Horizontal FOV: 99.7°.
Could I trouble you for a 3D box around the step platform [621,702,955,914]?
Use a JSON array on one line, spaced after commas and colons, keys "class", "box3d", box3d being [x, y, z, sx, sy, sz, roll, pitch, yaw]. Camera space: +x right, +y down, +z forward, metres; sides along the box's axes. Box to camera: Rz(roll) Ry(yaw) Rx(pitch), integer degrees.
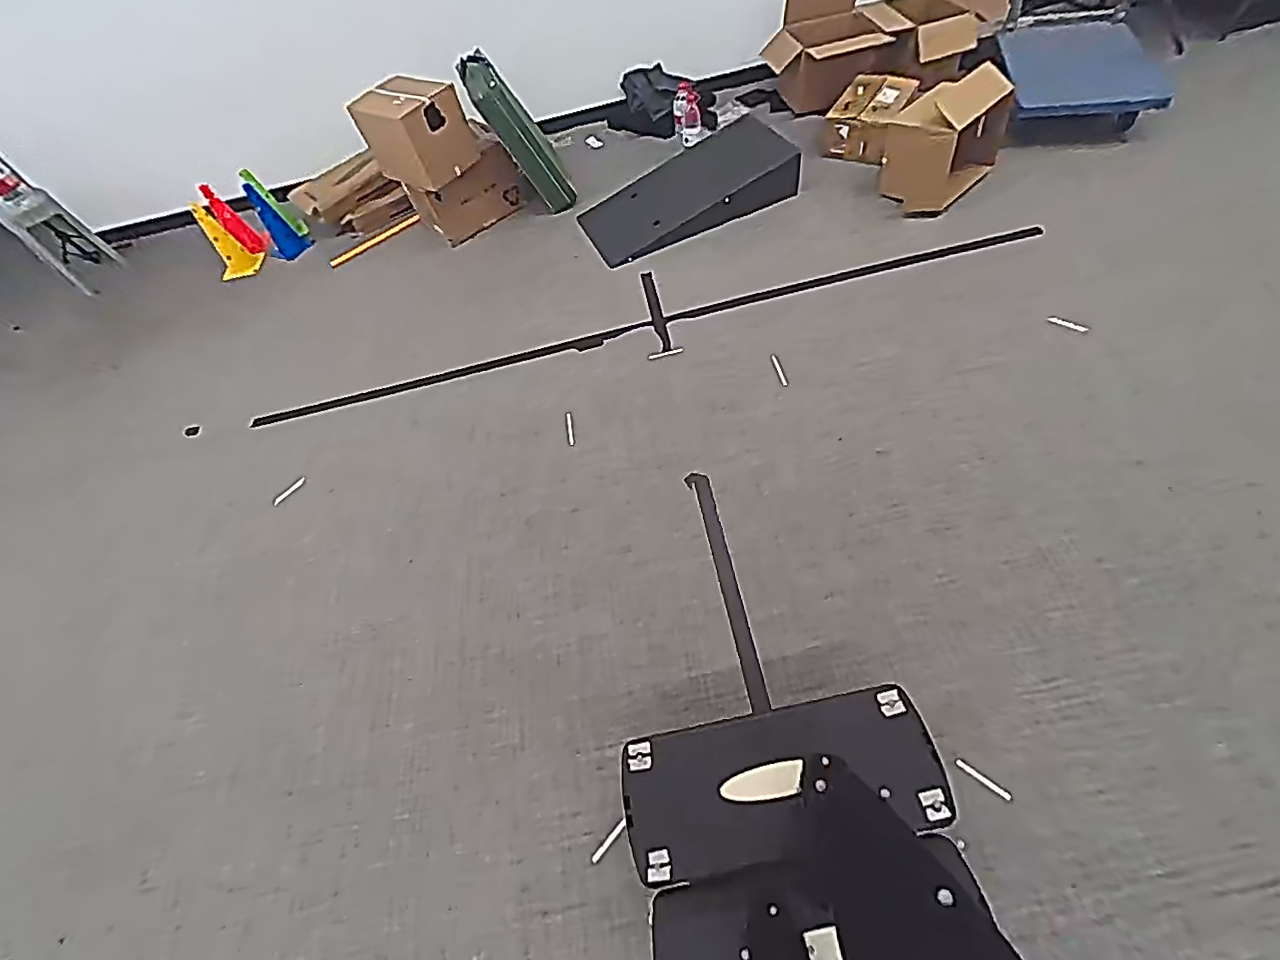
[{"class": "step platform", "box3d": [0.299, 0.711, 1.192, 0.684, 0.204, 0.286, -14, 56, 0]}]
